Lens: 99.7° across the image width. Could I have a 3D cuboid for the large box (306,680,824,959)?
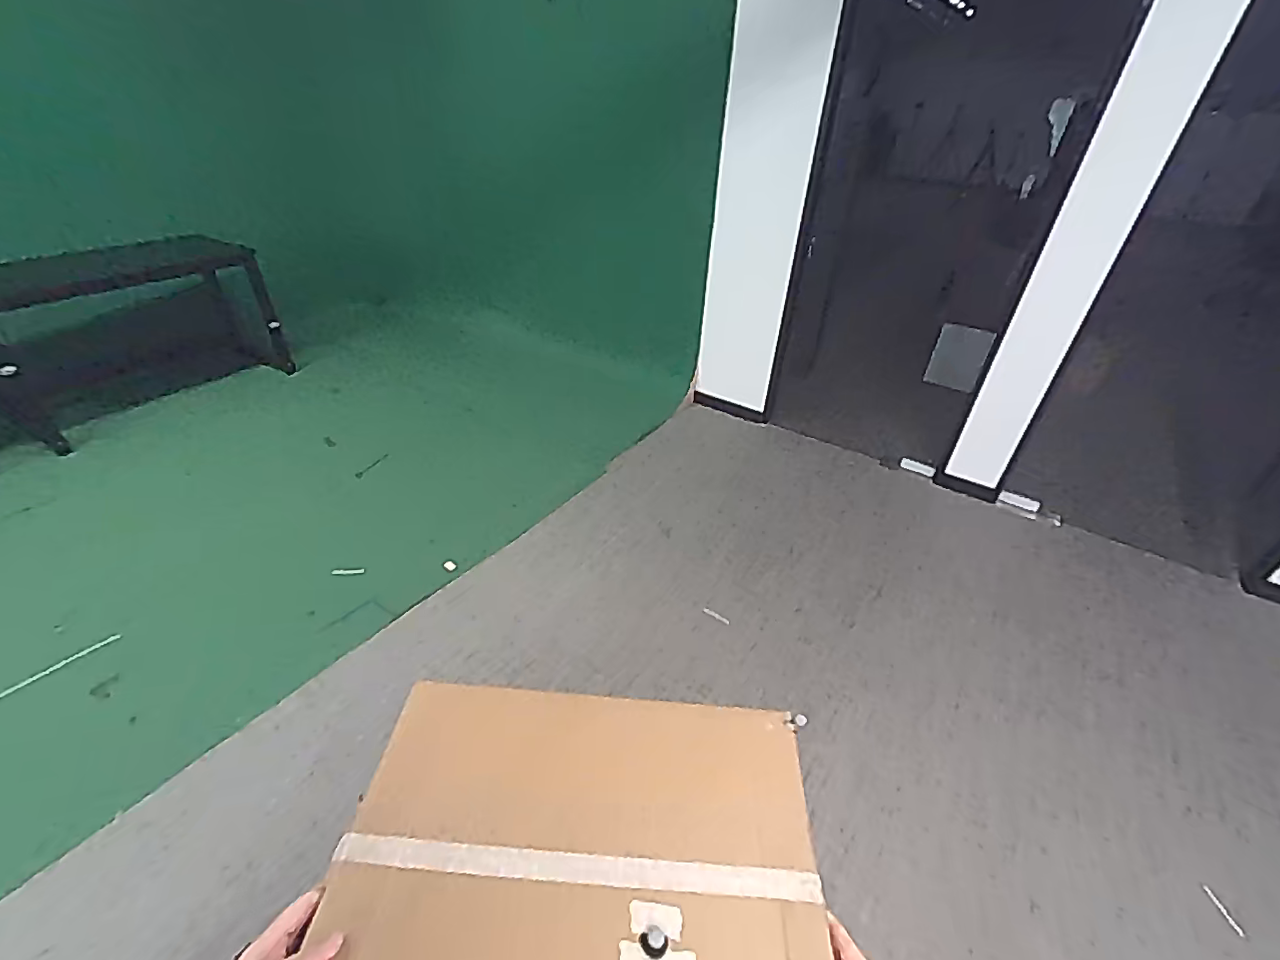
[{"bbox_3d":[-0.061,0.443,0.561,0.408,0.320,0.320,5,39,0],"label":"large box"}]
